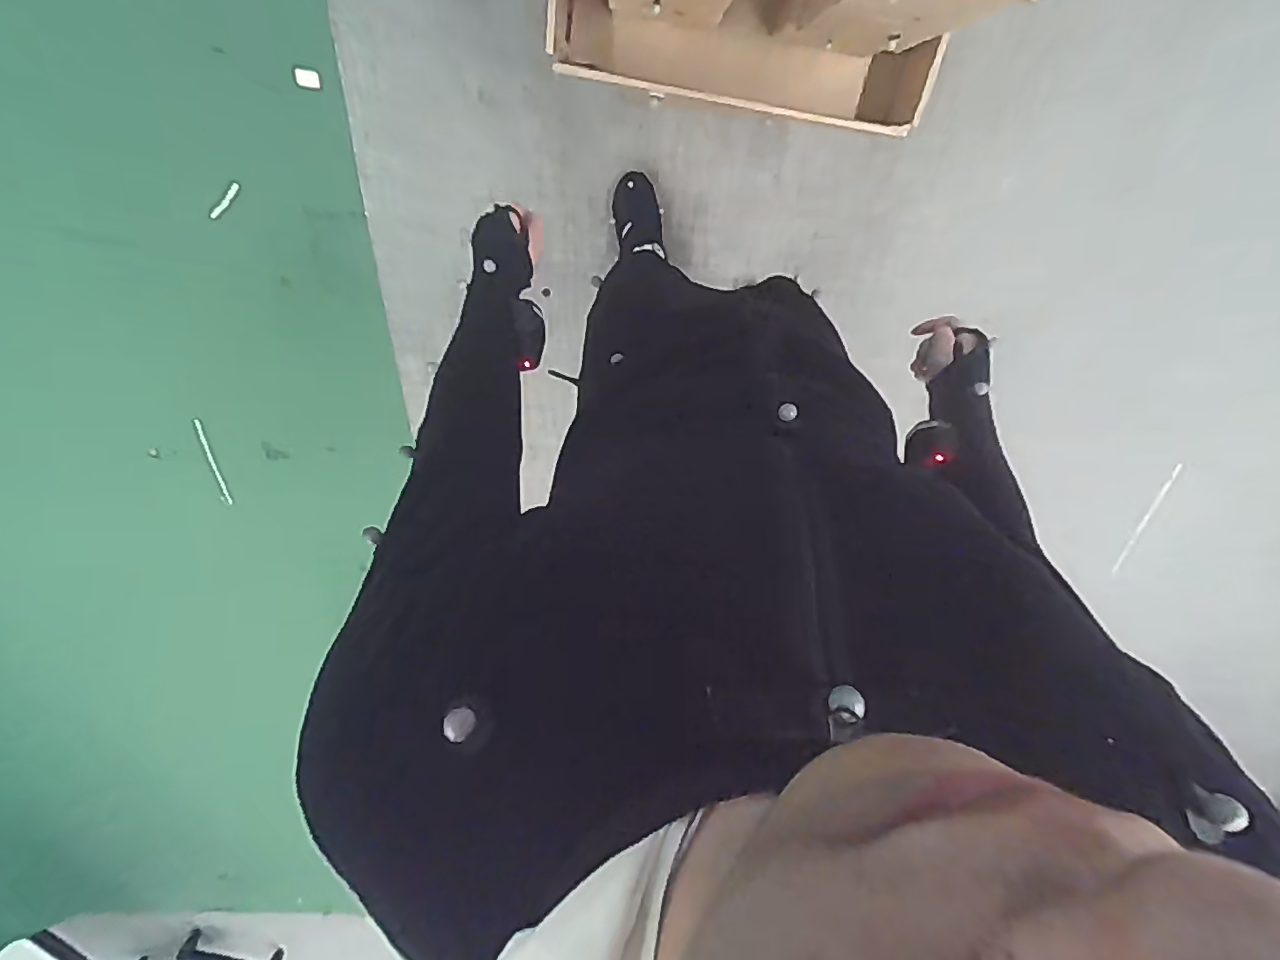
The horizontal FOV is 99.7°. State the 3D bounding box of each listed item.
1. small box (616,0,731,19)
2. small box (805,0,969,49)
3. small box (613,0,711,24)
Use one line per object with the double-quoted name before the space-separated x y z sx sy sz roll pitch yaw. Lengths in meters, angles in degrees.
"small box" 0.046 -0.711 0.670 0.168 0.176 0.179 4 121 -4
"small box" 0.327 -0.681 0.690 0.168 0.176 0.179 6 120 -6
"small box" 0.049 -0.806 0.802 0.179 0.176 0.168 5 121 -5
